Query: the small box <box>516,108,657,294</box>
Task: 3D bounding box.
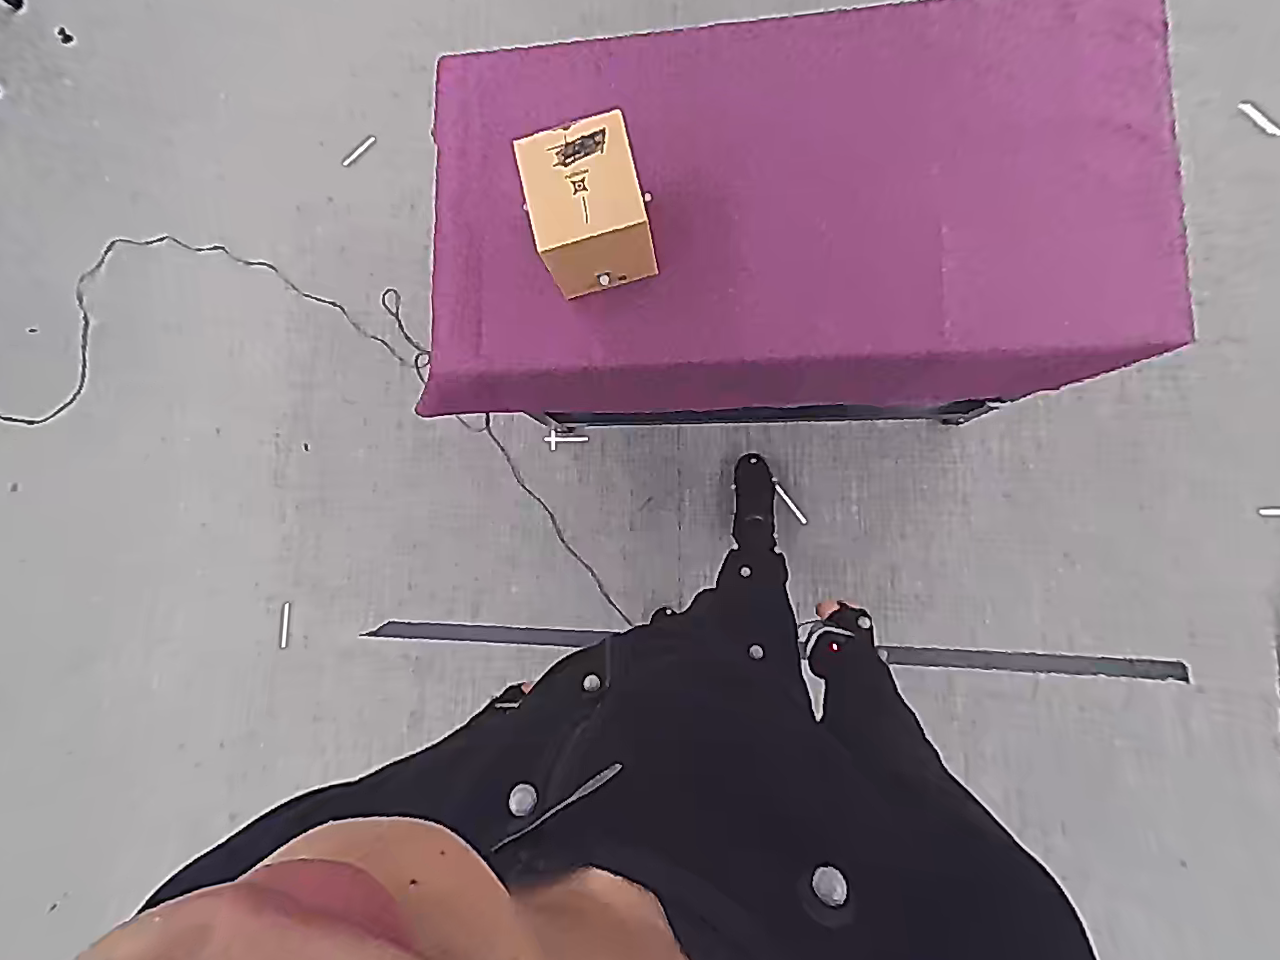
[{"bbox_3d":[-0.075,-0.422,0.846,0.168,0.176,0.179,-14,85,6],"label":"small box"}]
